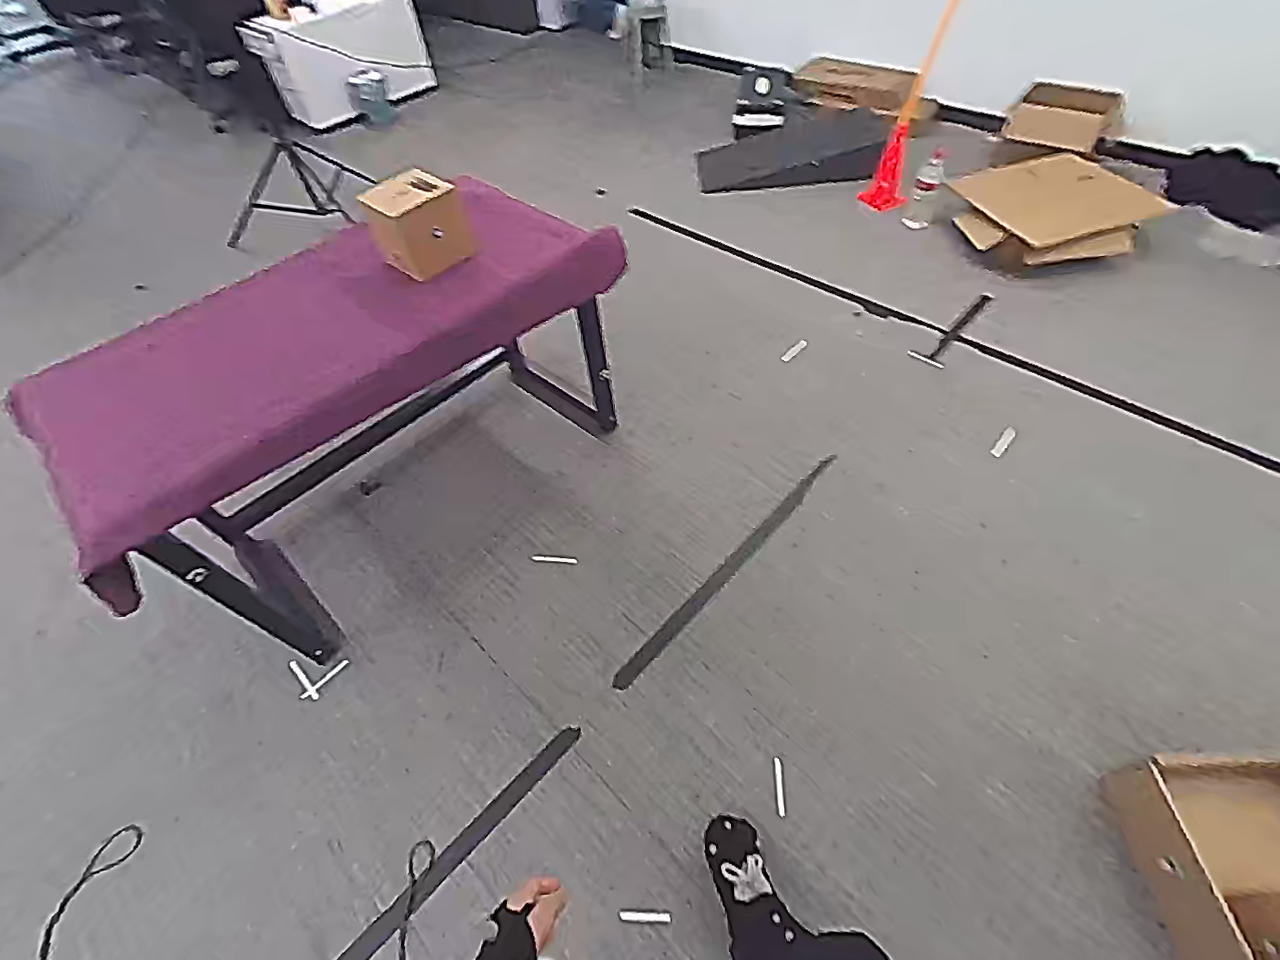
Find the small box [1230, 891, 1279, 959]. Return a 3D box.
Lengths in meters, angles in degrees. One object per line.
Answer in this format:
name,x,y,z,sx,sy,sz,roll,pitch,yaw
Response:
small box,1.234,0.833,0.950,0.179,0.176,0.168,0,52,5
